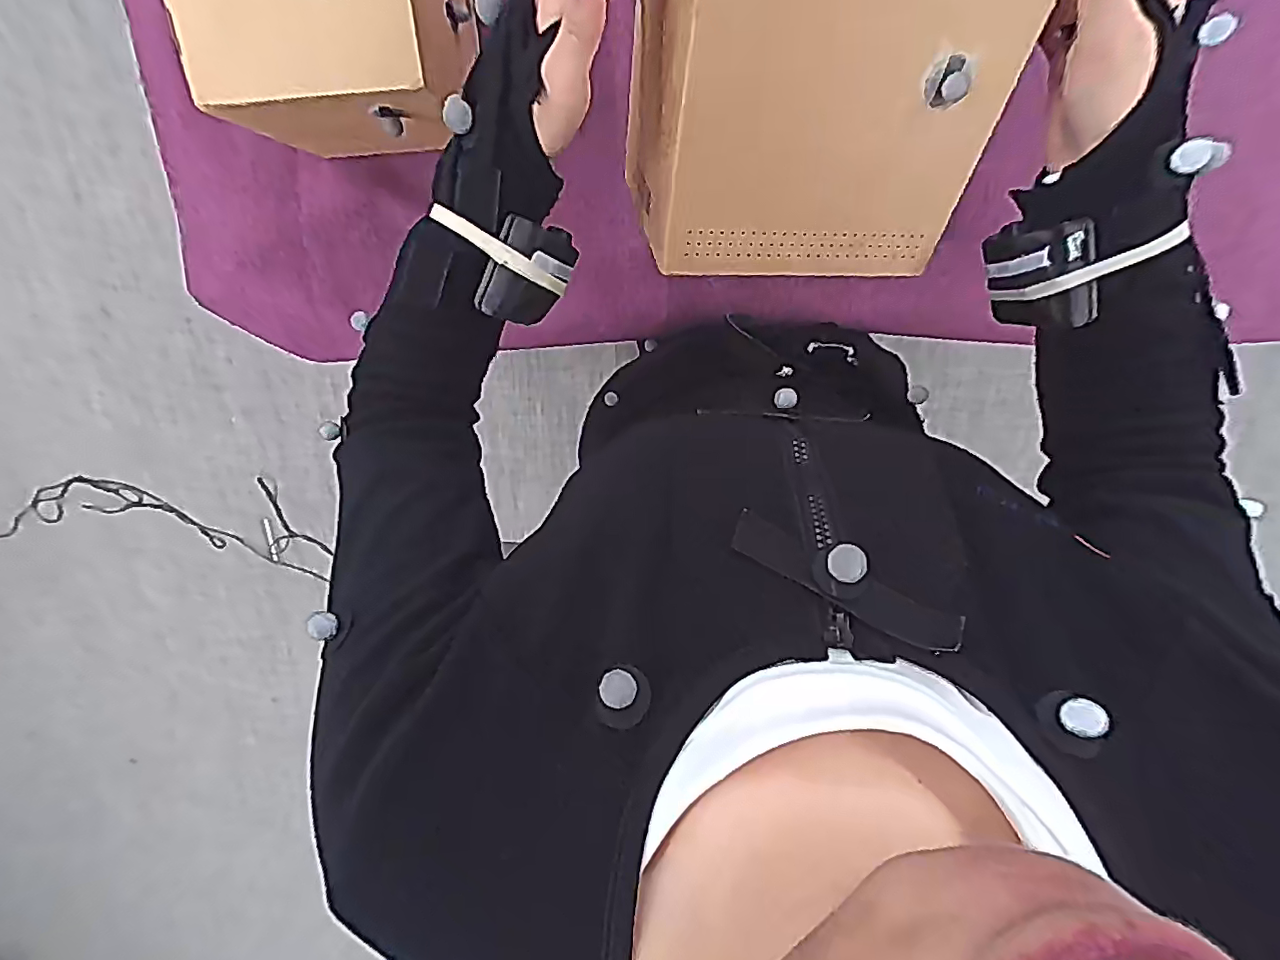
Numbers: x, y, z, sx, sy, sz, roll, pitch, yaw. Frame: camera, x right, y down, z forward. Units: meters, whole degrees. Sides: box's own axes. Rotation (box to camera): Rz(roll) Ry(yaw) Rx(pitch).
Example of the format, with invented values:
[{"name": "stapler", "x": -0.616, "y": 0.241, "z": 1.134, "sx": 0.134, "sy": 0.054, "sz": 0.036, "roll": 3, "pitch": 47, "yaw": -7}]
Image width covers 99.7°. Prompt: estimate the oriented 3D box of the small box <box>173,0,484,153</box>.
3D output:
[{"name": "small box", "x": -0.237, "y": -0.382, "z": 0.441, "sx": 0.179, "sy": 0.176, "sz": 0.168, "roll": -2, "pitch": 109, "yaw": 3}]
